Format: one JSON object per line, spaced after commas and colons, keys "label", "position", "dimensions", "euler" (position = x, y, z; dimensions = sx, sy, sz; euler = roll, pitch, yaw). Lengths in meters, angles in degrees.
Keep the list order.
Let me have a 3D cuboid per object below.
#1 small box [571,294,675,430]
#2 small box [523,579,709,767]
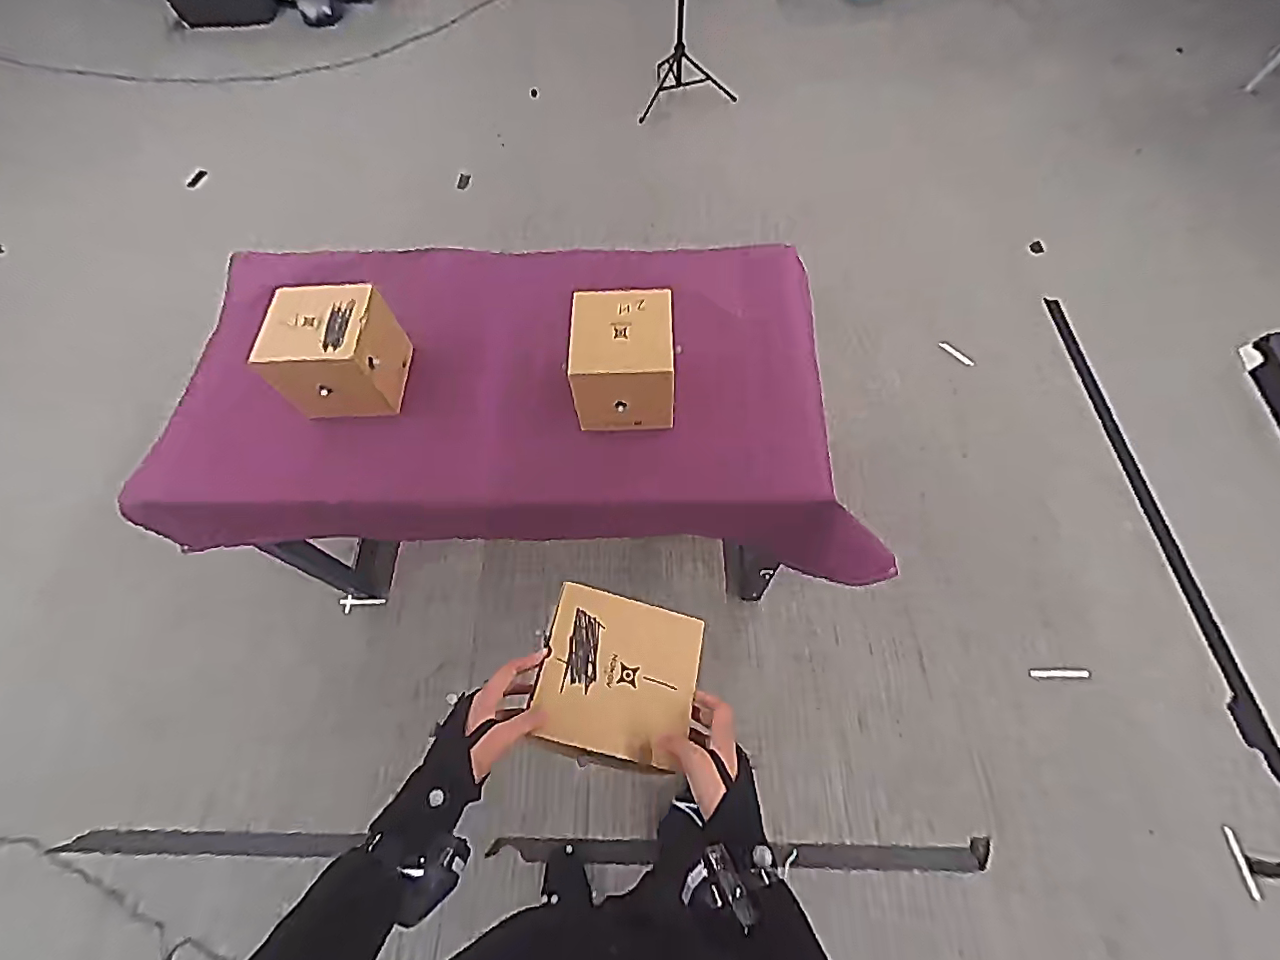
{"label": "small box", "position": [-0.021, -0.199, 0.945], "dimensions": [0.168, 0.176, 0.179], "euler": [0, 63, 2]}
{"label": "small box", "position": [-0.035, 0.245, 0.665], "dimensions": [0.179, 0.176, 0.168], "euler": [18, 59, -7]}
